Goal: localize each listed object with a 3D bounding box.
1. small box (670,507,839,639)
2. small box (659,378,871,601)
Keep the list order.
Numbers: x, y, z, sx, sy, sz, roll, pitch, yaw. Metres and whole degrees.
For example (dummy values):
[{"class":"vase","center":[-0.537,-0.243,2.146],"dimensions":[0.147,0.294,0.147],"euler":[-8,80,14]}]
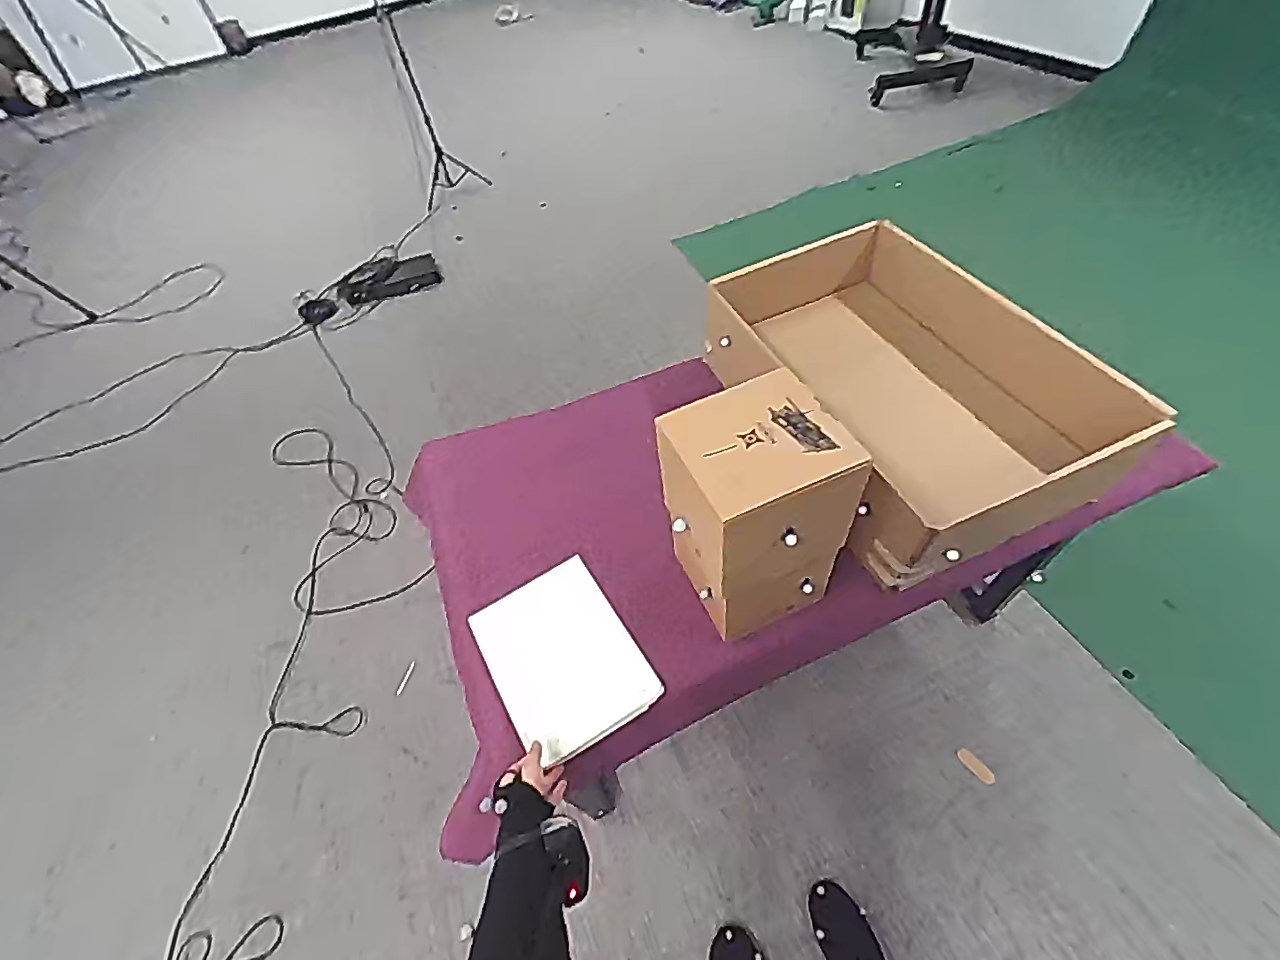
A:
[{"class":"small box","center":[0.157,0.107,0.779],"dimensions":[0.168,0.176,0.179],"euler":[-21,50,-9]},{"class":"small box","center":[0.136,0.014,0.645],"dimensions":[0.179,0.176,0.168],"euler":[-22,51,-9]}]
